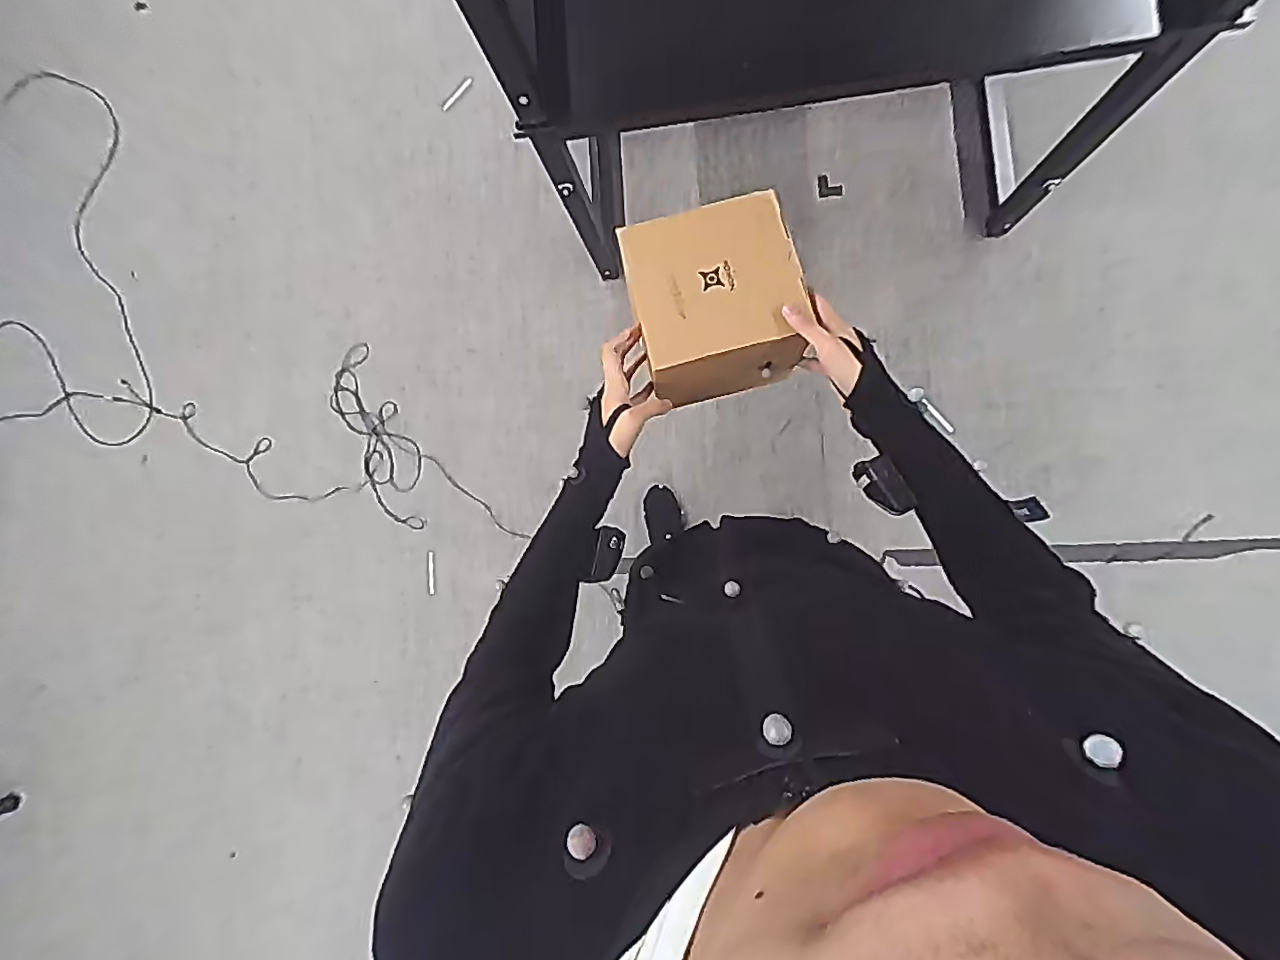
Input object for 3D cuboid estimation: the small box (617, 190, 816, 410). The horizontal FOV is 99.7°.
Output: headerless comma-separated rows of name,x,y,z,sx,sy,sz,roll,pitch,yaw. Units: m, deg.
small box,0.080,-0.197,0.636,0.179,0.176,0.168,-14,80,1
